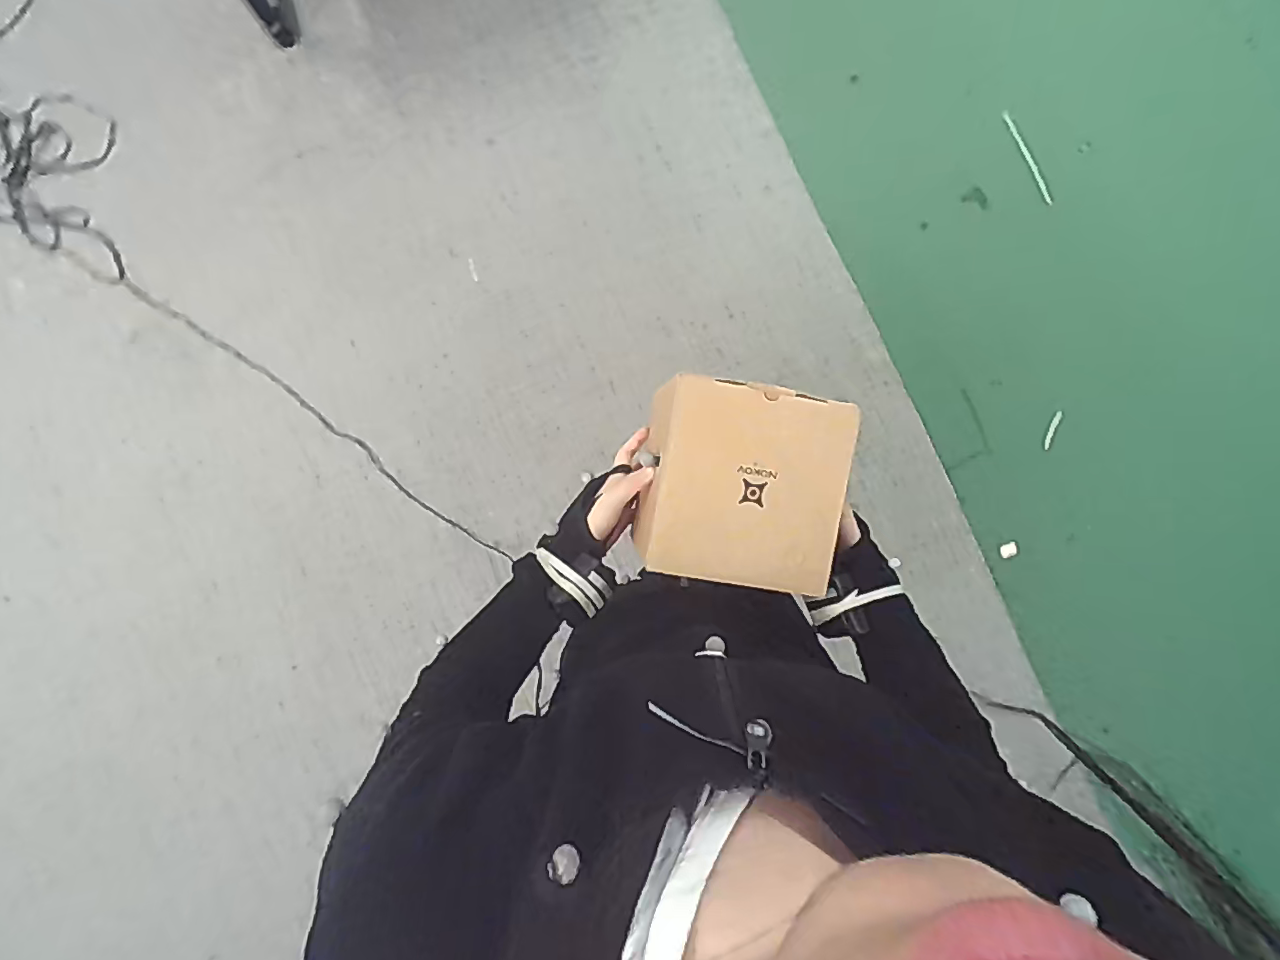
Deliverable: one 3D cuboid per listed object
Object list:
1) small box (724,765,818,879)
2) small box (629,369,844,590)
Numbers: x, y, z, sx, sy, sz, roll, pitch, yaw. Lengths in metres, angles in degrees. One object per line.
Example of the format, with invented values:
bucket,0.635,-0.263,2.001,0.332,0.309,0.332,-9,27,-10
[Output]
small box,0.325,0.856,1.380,0.168,0.176,0.179,-17,86,-2
small box,0.083,-0.002,0.557,0.168,0.176,0.179,9,91,-6
